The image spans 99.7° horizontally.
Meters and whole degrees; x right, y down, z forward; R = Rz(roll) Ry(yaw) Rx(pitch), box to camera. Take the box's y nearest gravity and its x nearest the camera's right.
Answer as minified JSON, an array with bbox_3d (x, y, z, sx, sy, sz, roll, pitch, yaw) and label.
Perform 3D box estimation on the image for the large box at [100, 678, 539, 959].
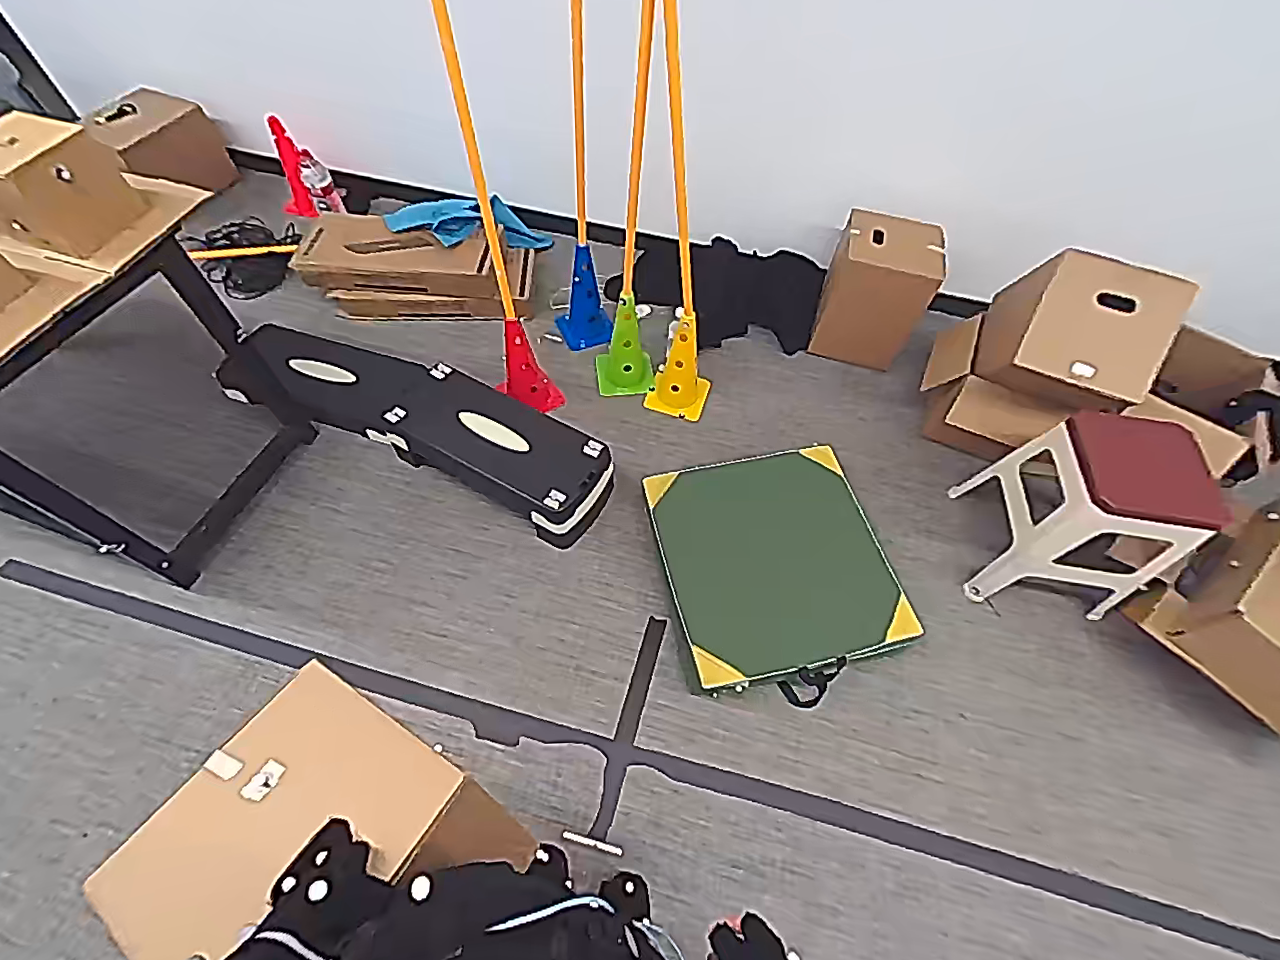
[{"bbox_3d":[-0.398,0.557,0.774,0.320,0.408,0.320,23,53,25],"label":"large box"}]
